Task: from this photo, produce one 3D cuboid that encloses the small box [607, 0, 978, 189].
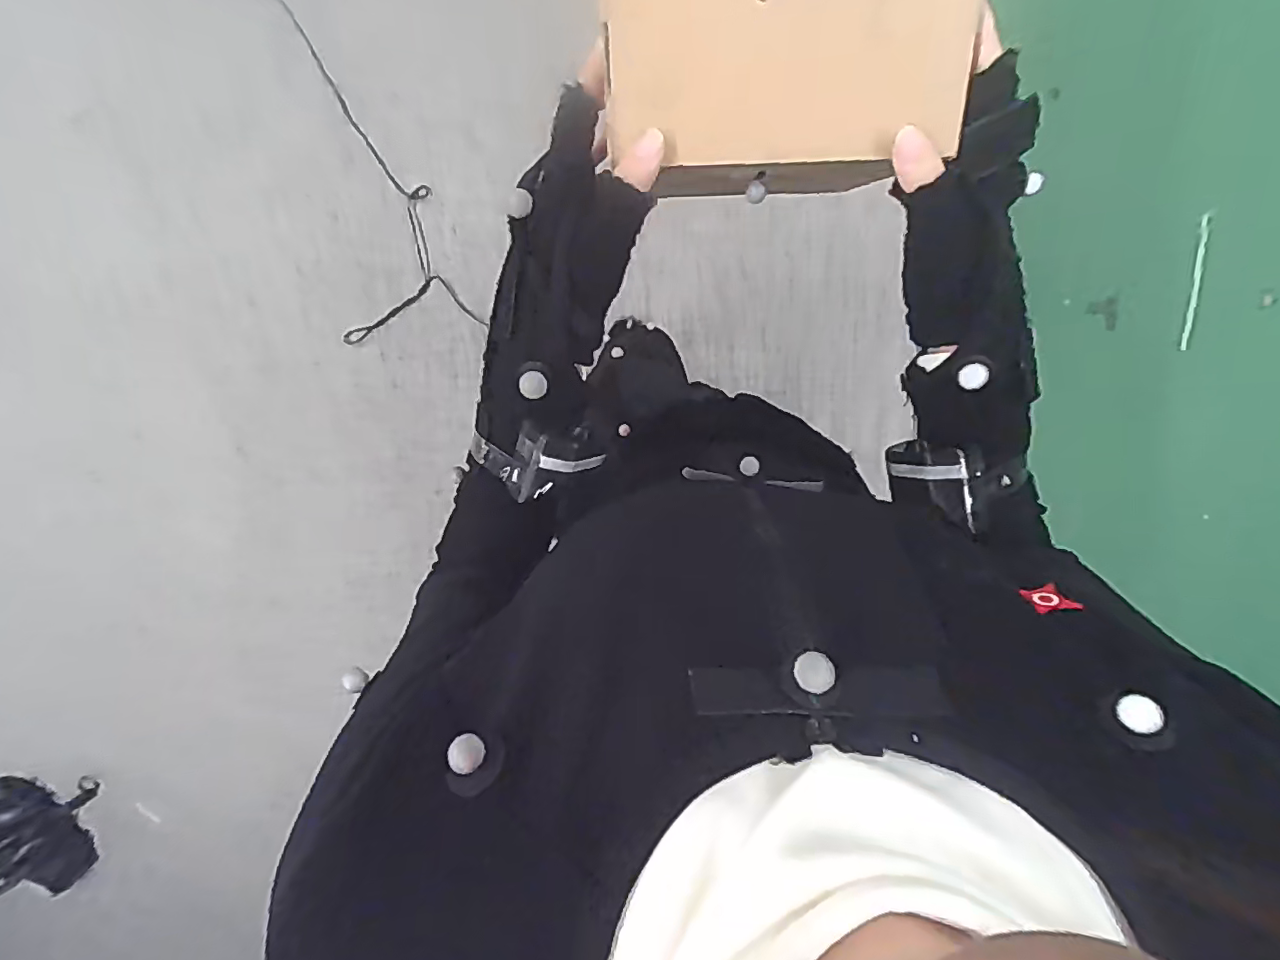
[{"bbox_3d":[0.071,-0.274,0.319,0.179,0.176,0.168,-3,114,0],"label":"small box"}]
